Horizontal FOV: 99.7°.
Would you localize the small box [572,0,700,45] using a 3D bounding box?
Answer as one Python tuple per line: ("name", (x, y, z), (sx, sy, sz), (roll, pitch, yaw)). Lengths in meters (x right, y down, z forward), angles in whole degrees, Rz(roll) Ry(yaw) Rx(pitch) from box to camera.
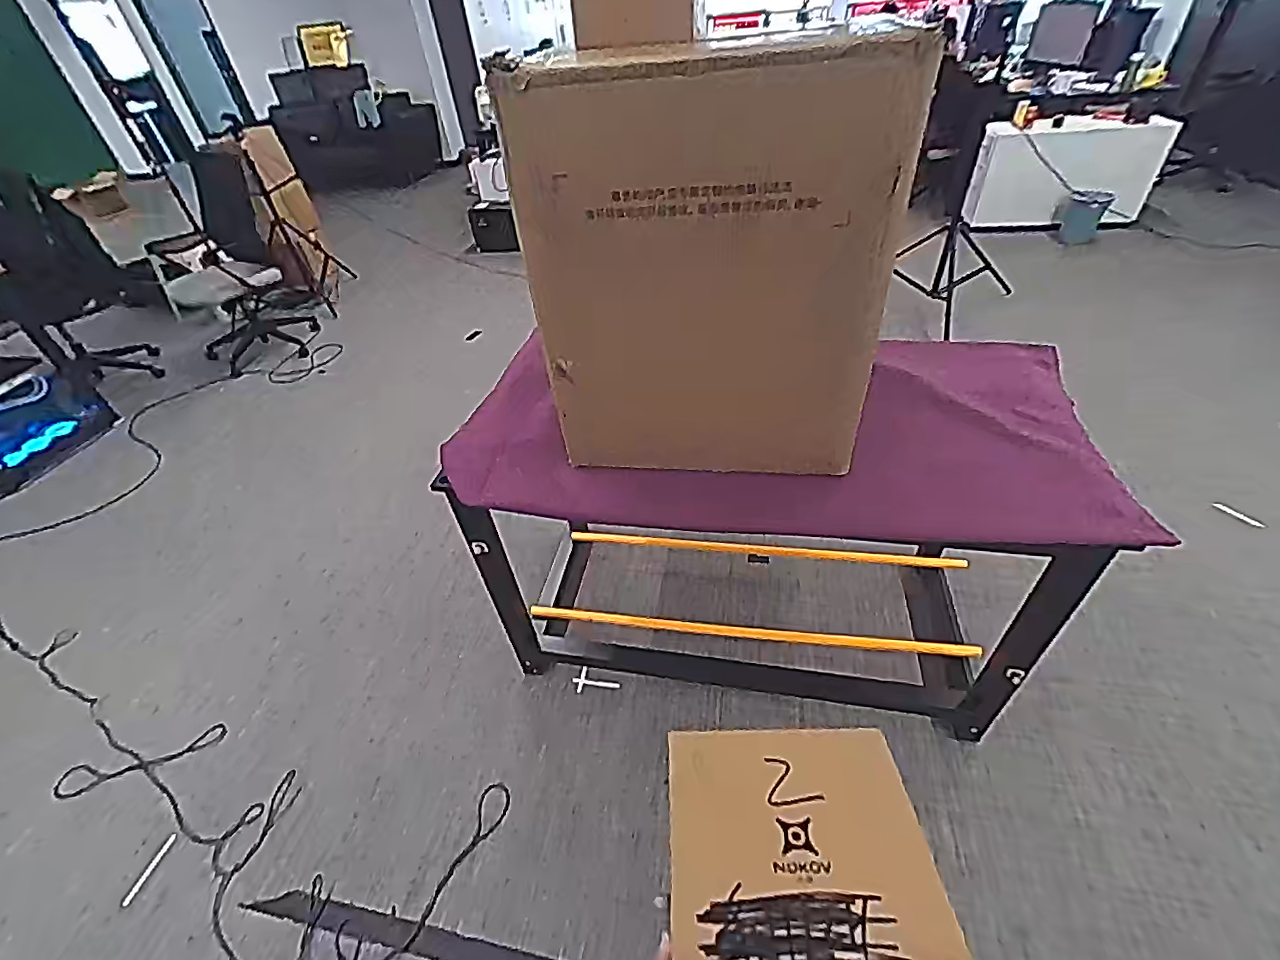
("small box", (-0.004, -0.739, 0.777), (0.179, 0.176, 0.168), (2, 42, 7))
